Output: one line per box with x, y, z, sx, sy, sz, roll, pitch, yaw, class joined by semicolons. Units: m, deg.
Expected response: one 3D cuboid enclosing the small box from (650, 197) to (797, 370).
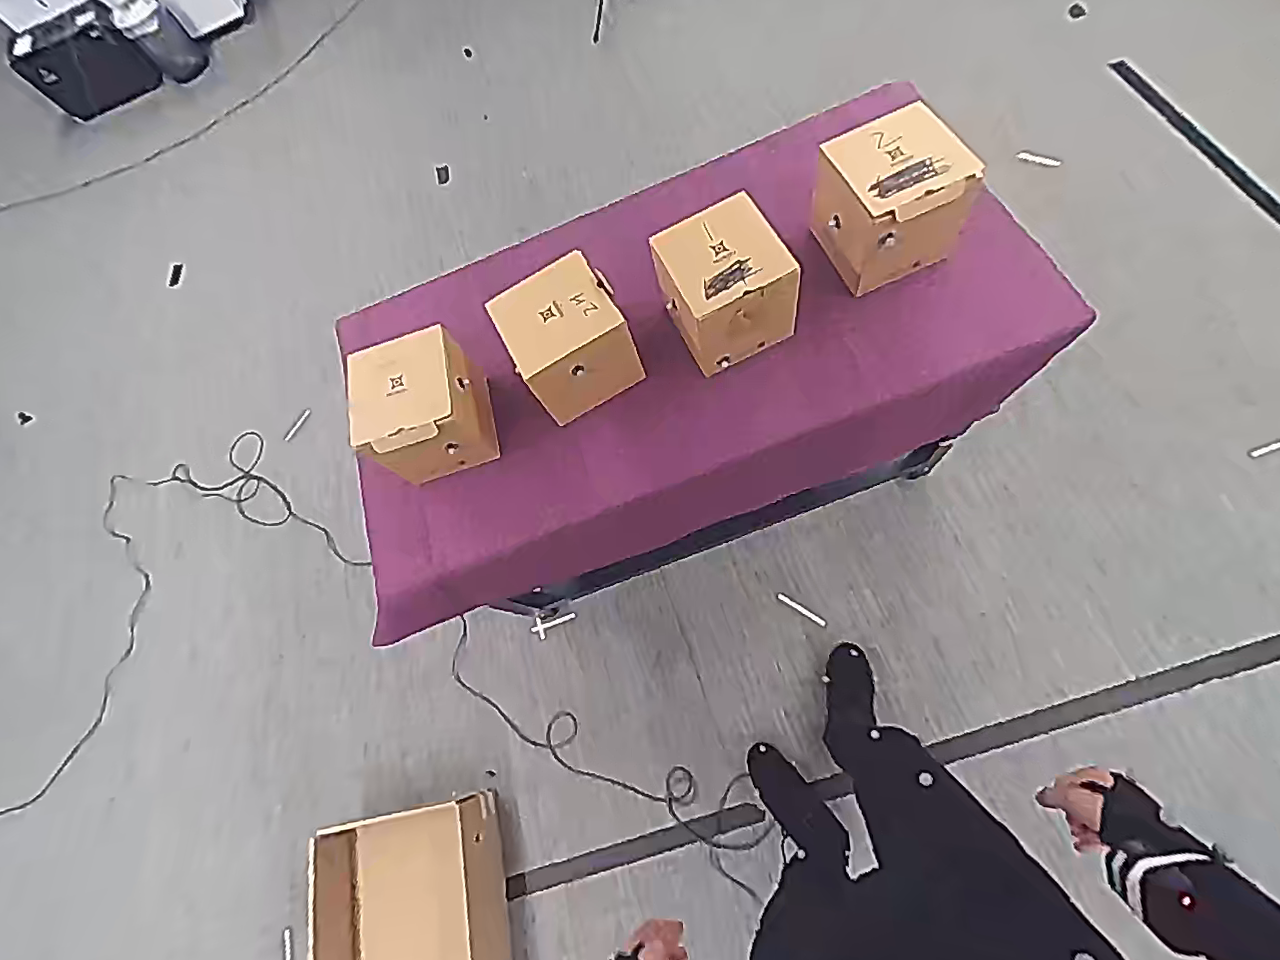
0.136;-0.302;0.873;0.168;0.176;0.179;-26;67;2;small box

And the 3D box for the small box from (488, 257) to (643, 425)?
-0.115;-0.220;0.896;0.179;0.176;0.168;-30;68;0;small box

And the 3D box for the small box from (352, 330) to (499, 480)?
-0.352;-0.112;0.908;0.168;0.176;0.179;-17;68;5;small box
